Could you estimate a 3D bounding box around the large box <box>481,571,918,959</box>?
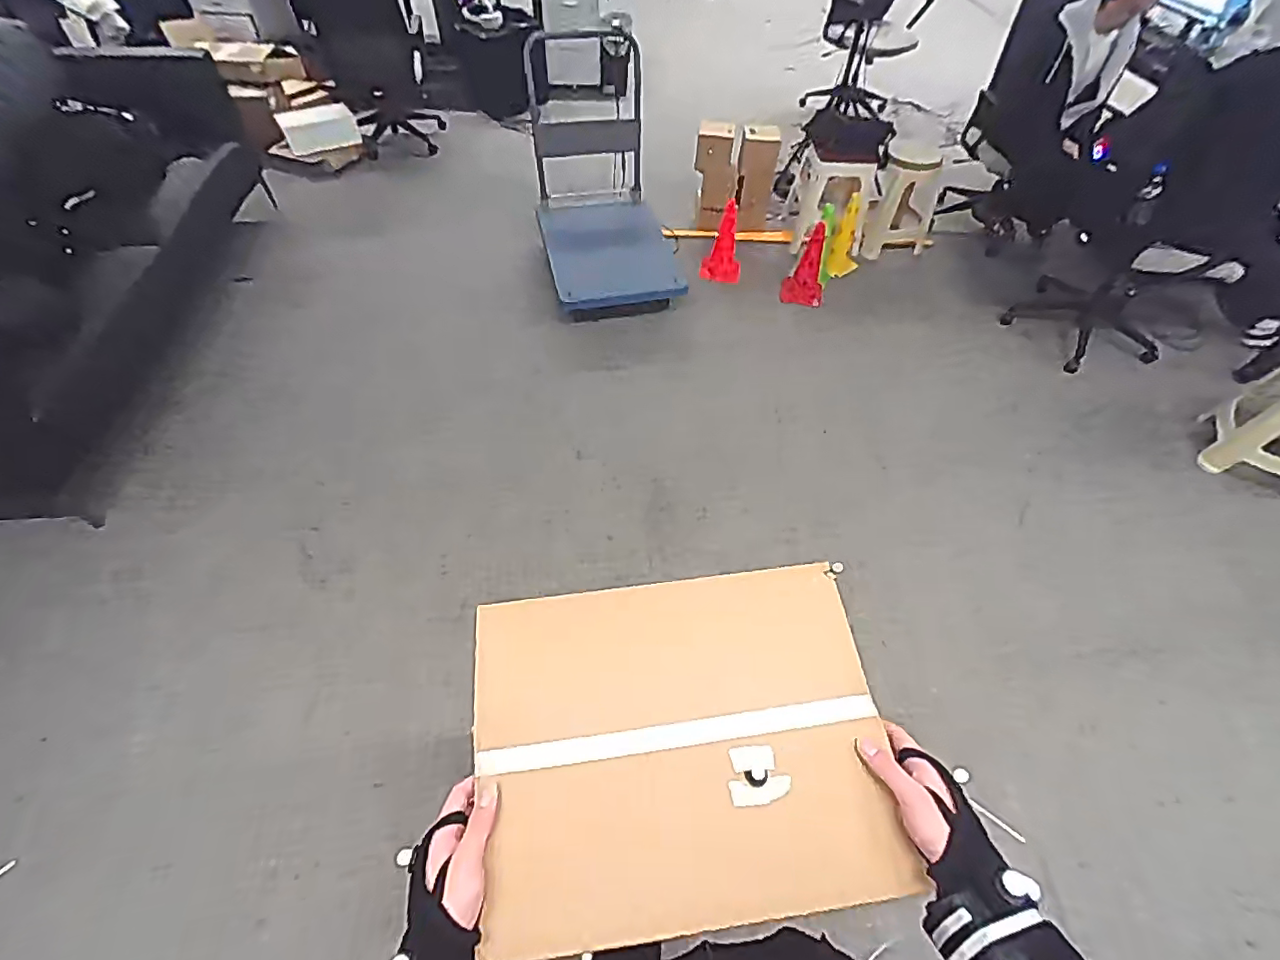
[{"bbox_3d":[0.038,0.338,0.680,0.408,0.320,0.320,-7,62,-4],"label":"large box"}]
